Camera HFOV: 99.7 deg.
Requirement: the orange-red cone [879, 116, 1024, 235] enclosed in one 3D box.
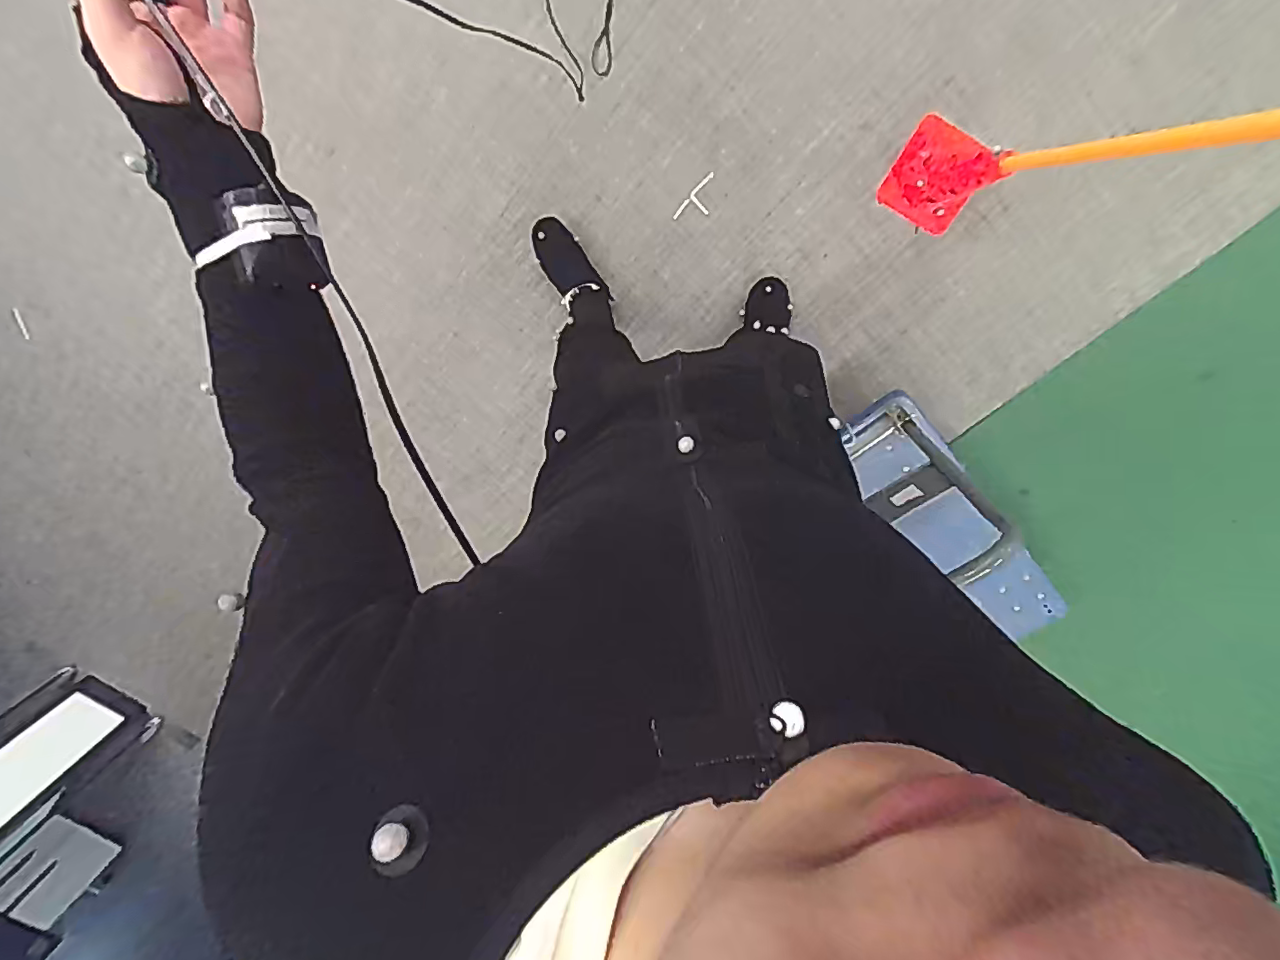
[{"bbox_3d":[0.678,-0.639,1.117,0.198,0.360,0.199,28,114,-8],"label":"orange-red cone"}]
